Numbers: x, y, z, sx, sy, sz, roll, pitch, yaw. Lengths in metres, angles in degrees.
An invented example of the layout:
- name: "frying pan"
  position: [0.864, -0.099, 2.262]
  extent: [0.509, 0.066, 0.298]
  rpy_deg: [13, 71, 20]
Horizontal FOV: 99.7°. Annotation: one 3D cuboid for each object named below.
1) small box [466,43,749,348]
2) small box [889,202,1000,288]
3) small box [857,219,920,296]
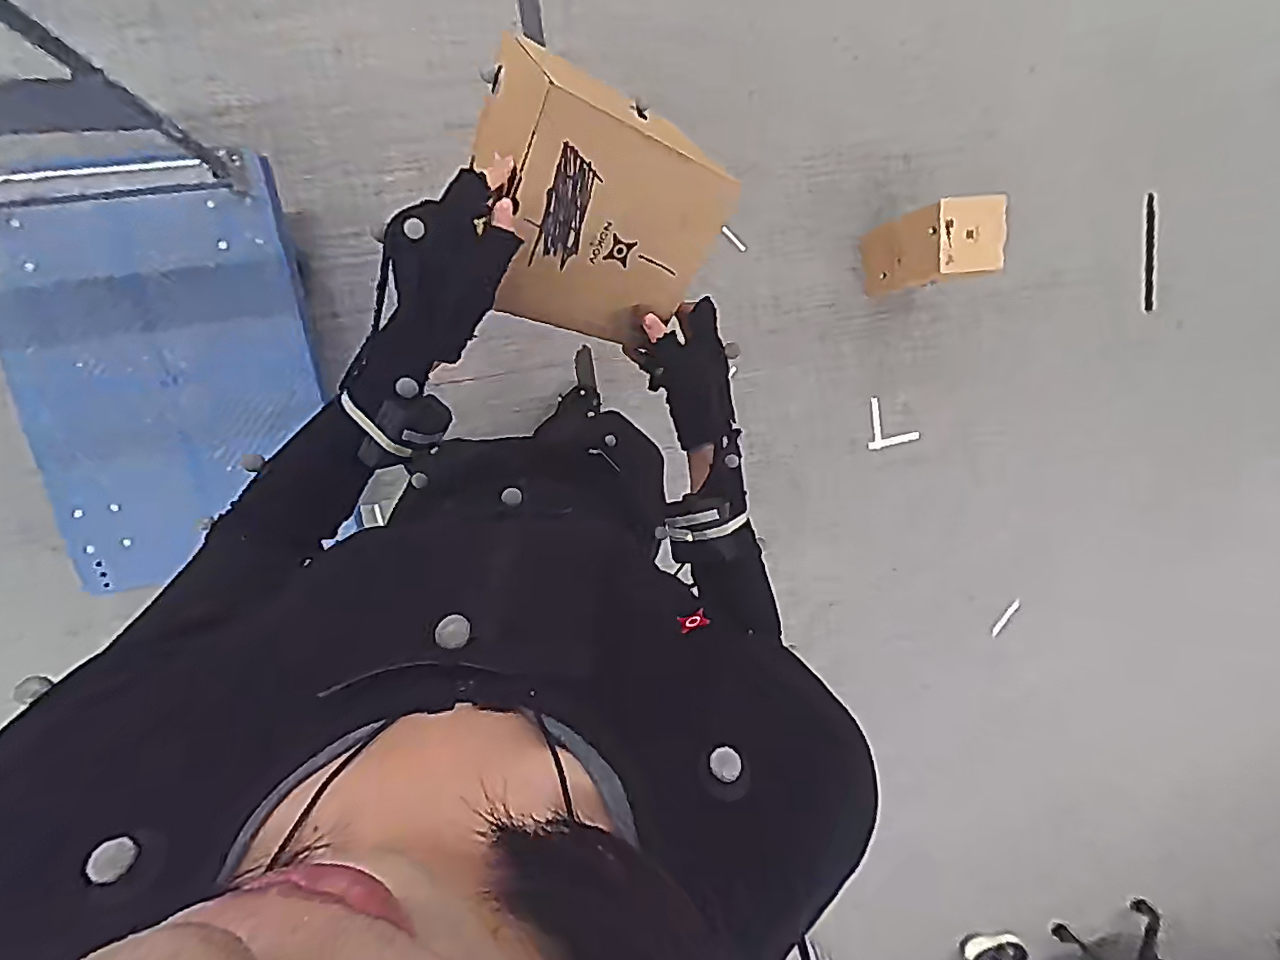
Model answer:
- name: "small box"
  position: [-0.044, -0.251, 0.486]
  extent: [0.179, 0.176, 0.168]
  rpy_deg: [7, 133, -34]
- name: "small box"
  position: [0.750, -0.580, 1.345]
  extent: [0.179, 0.176, 0.168]
  rpy_deg: [-8, 101, -11]
- name: "small box"
  position: [0.731, -0.618, 1.504]
  extent: [0.168, 0.176, 0.179]
  rpy_deg: [-14, 101, -9]
